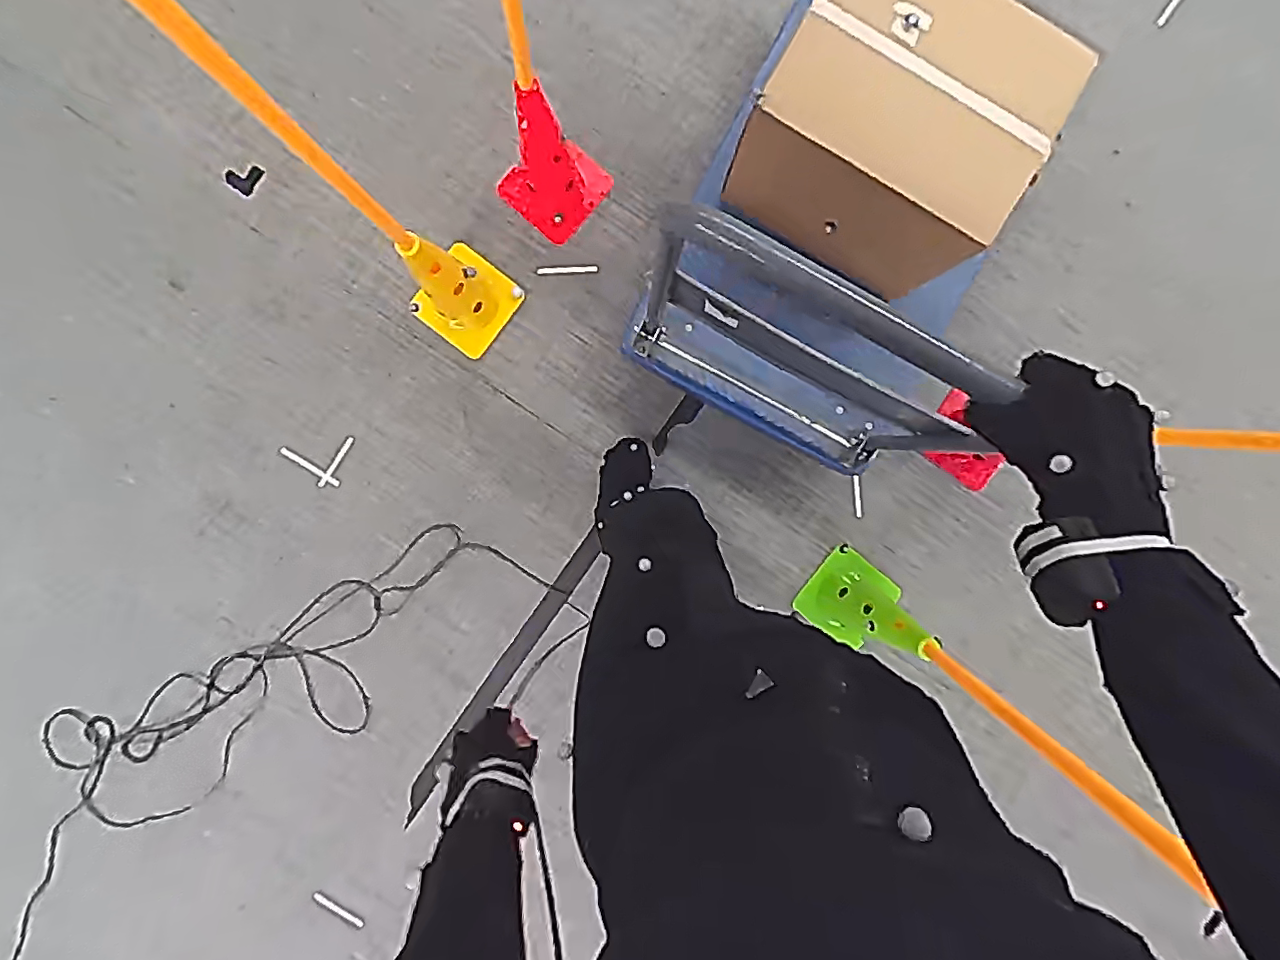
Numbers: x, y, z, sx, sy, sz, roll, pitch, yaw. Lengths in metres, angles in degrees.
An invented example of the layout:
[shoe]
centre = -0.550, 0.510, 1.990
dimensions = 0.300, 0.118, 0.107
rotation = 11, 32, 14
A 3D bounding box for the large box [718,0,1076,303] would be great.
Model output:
[large box]
centre = 0.399, -0.569, 0.945
dimensions = 0.408, 0.320, 0.320
rotation = 29, 93, -2

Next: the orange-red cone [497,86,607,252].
[orange-red cone]
centre = -0.195, -0.648, 1.077
dimensions = 0.198, 0.360, 0.199
rotation = 41, 90, -3

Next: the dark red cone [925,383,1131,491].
[dark red cone]
centre = 0.793, -0.091, 1.097
dimensions = 0.201, 0.394, 0.202
rotation = 34, 92, -4

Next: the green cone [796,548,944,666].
[green cone]
centre = 0.505, 0.300, 1.127
dimensions = 0.202, 0.368, 0.200
rotation = 38, 91, -4
